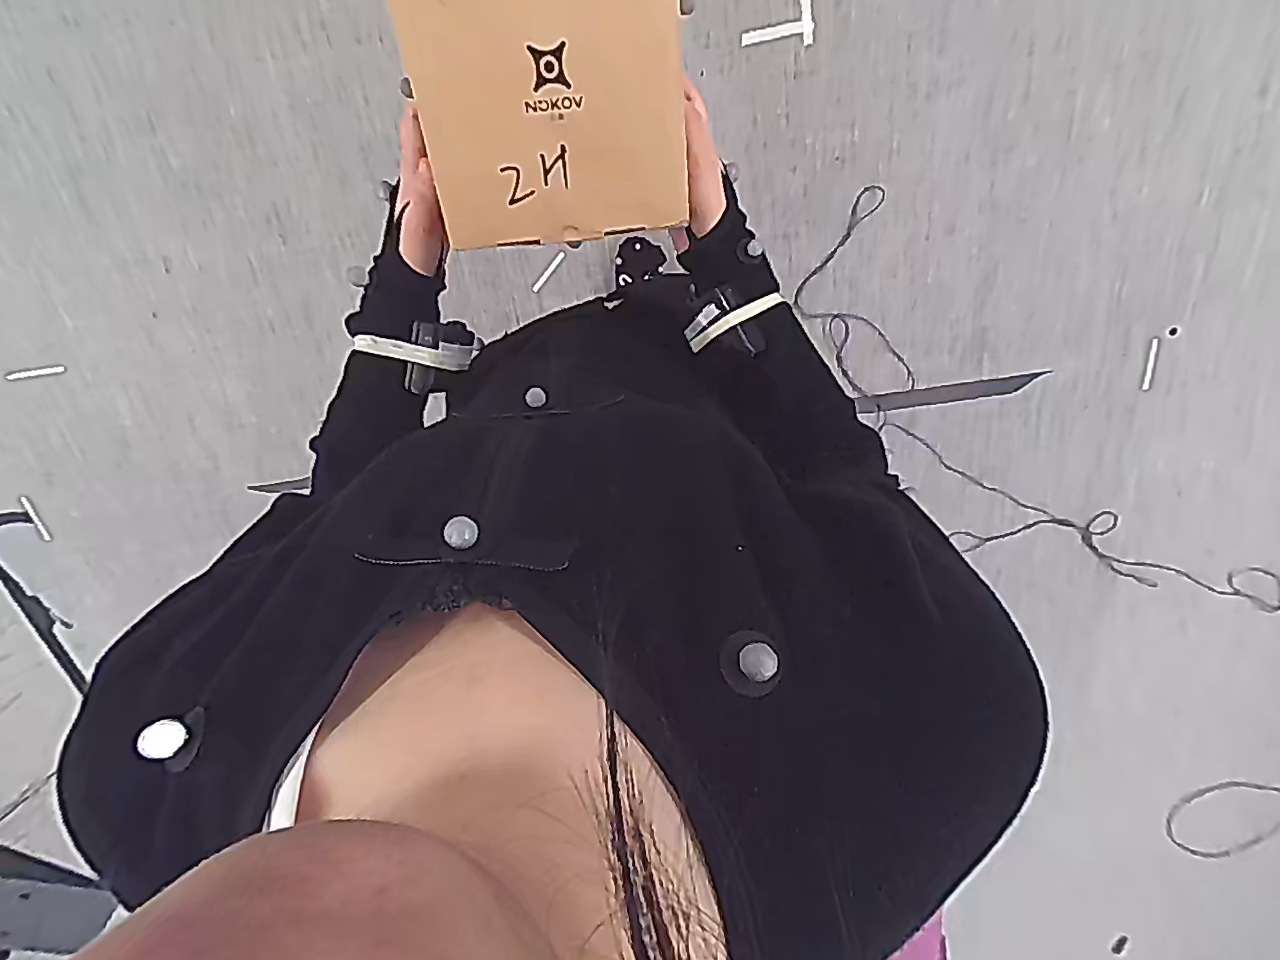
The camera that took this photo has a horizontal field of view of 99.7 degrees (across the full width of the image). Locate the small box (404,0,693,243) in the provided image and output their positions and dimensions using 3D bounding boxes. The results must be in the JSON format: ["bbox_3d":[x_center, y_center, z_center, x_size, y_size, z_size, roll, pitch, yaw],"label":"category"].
[{"bbox_3d":[-0.060,-0.282,0.400,0.168,0.176,0.179,-7,119,-3],"label":"small box"}]
